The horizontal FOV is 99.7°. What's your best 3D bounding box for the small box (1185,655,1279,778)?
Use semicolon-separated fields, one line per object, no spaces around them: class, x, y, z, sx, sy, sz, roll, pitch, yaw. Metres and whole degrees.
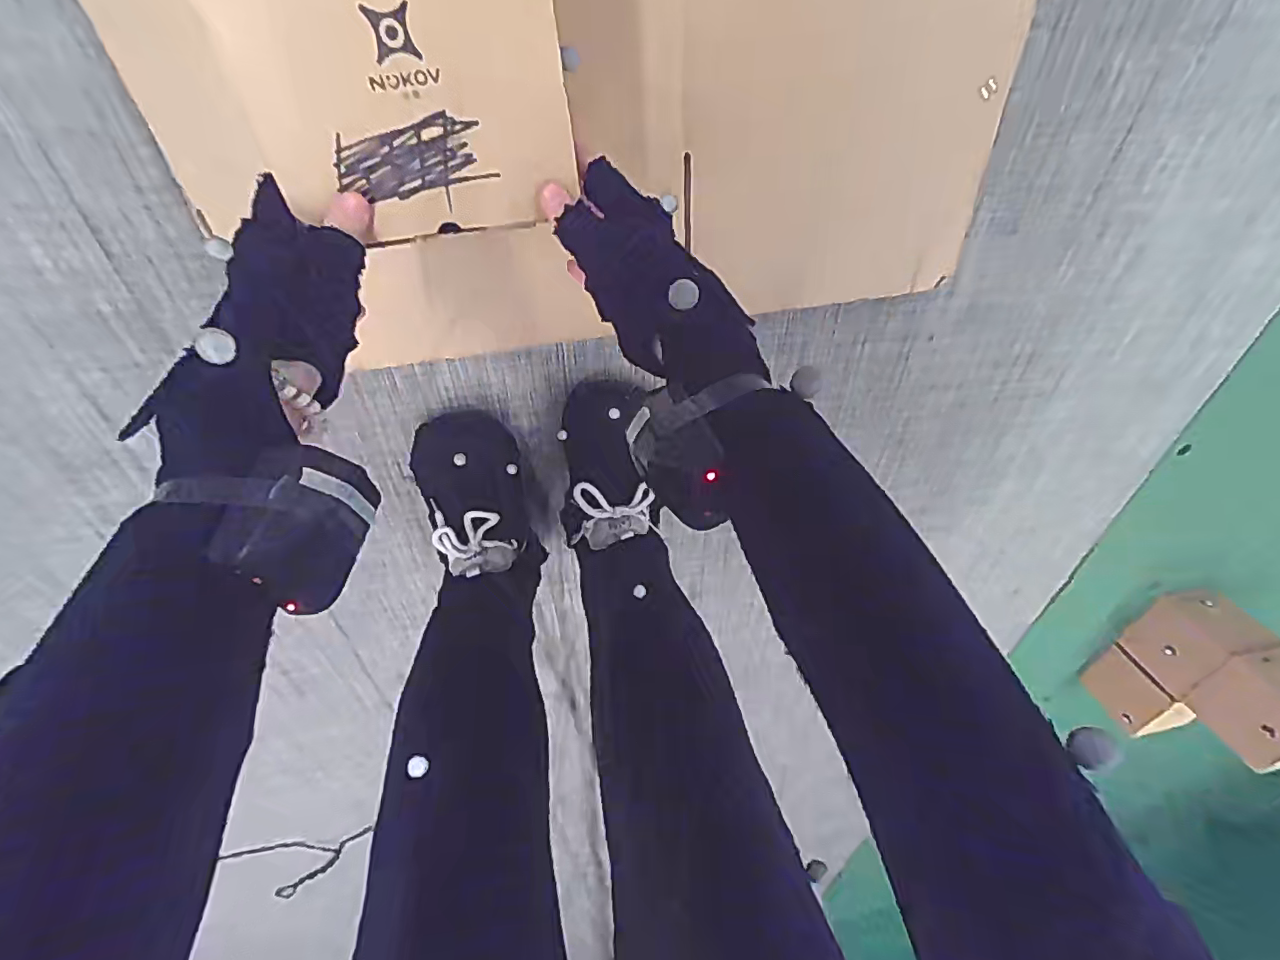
small box;1.316;0.481;1.121;0.168;0.176;0.179;-5;129;-10

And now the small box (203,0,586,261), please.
small box;-0.132;-0.261;0.335;0.168;0.176;0.179;-11;131;-5
